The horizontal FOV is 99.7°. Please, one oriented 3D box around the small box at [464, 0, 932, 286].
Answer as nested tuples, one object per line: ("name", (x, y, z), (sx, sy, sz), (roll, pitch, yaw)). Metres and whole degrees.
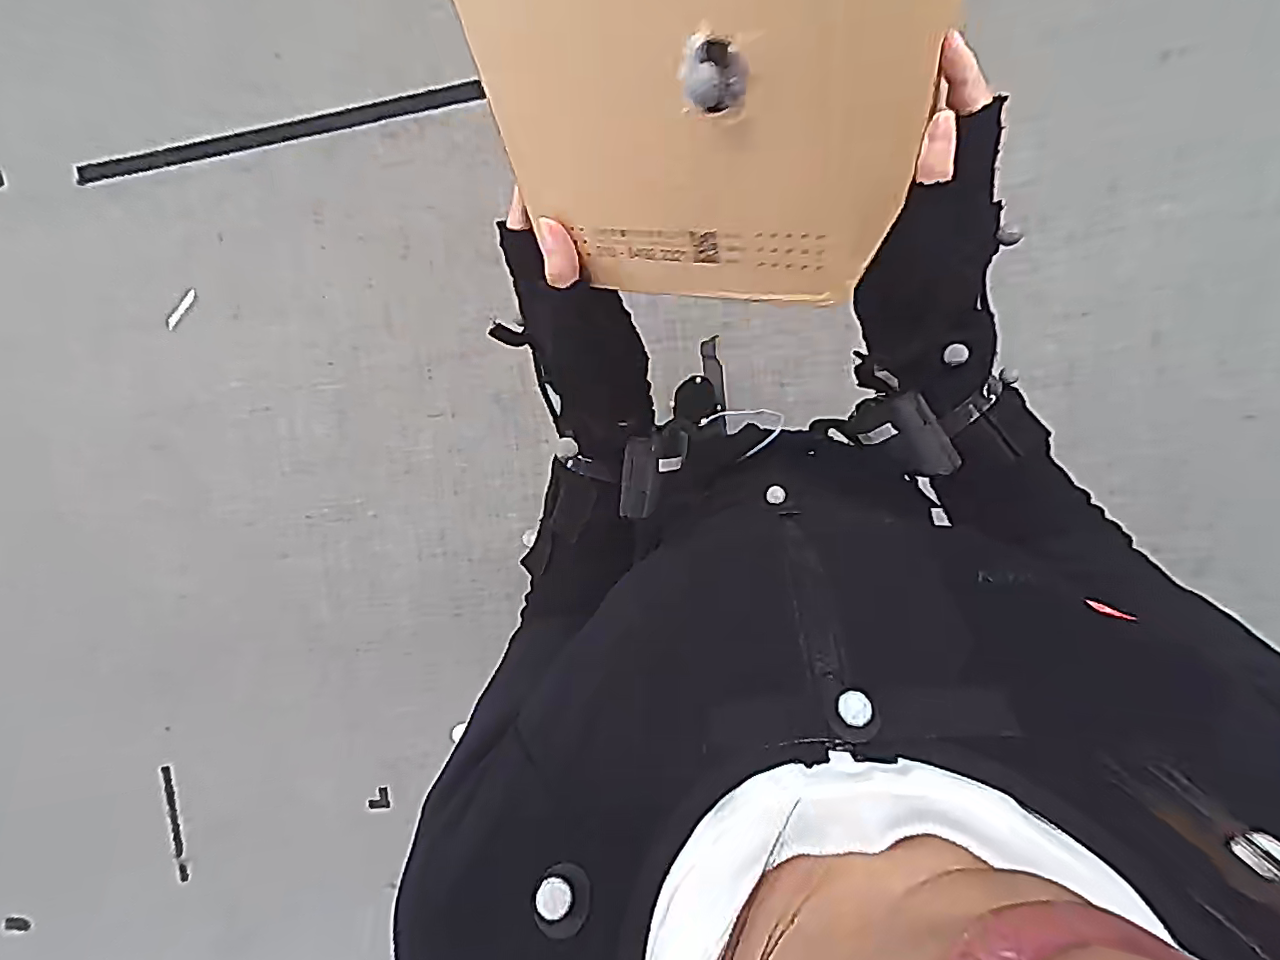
("small box", (0.044, -0.217, 0.275), (0.168, 0.176, 0.179), (16, 53, 29))
